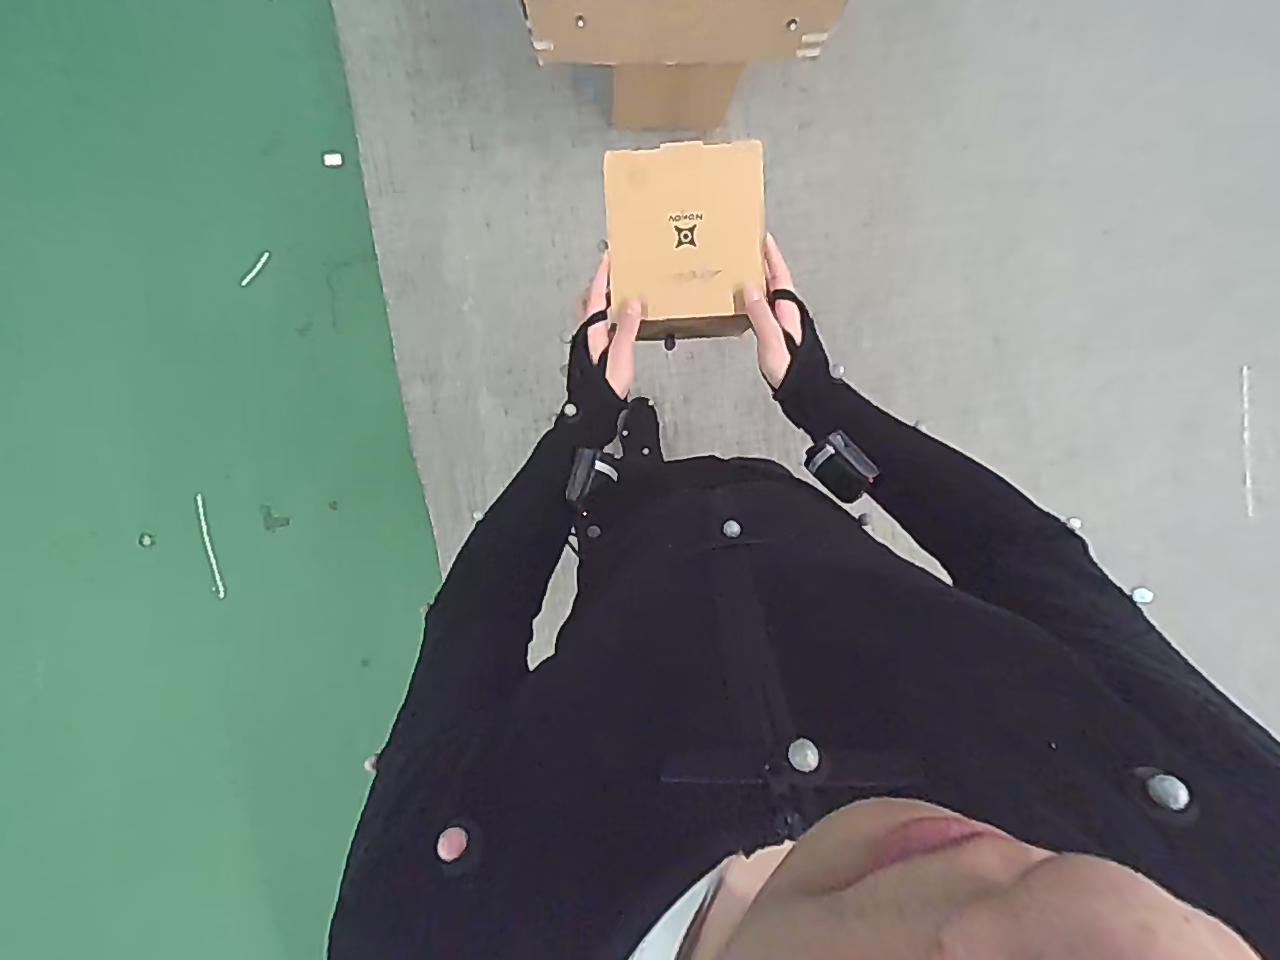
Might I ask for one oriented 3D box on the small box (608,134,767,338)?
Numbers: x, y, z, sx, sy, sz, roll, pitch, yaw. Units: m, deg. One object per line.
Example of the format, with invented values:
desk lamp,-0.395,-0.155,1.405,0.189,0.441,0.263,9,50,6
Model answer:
small box,0.051,-0.272,0.639,0.168,0.176,0.179,-2,97,3
